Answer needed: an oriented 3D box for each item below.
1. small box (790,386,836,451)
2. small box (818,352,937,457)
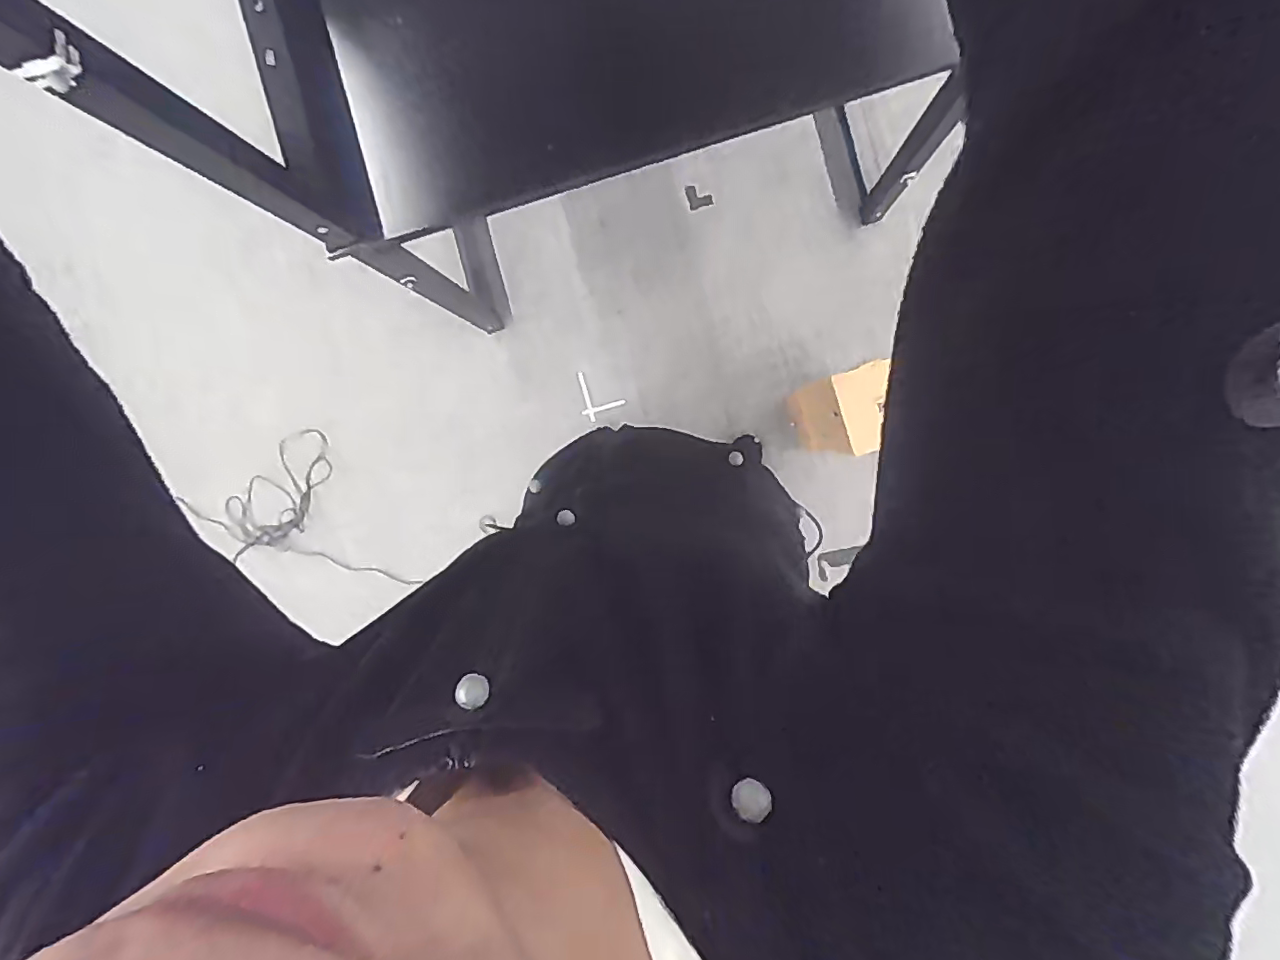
[{"bbox_3d":[0.531,-0.182,1.489,0.179,0.176,0.168,-16,91,7],"label":"small box"},{"bbox_3d":[0.502,-0.157,1.164,0.168,0.176,0.179,-18,91,7],"label":"small box"}]
